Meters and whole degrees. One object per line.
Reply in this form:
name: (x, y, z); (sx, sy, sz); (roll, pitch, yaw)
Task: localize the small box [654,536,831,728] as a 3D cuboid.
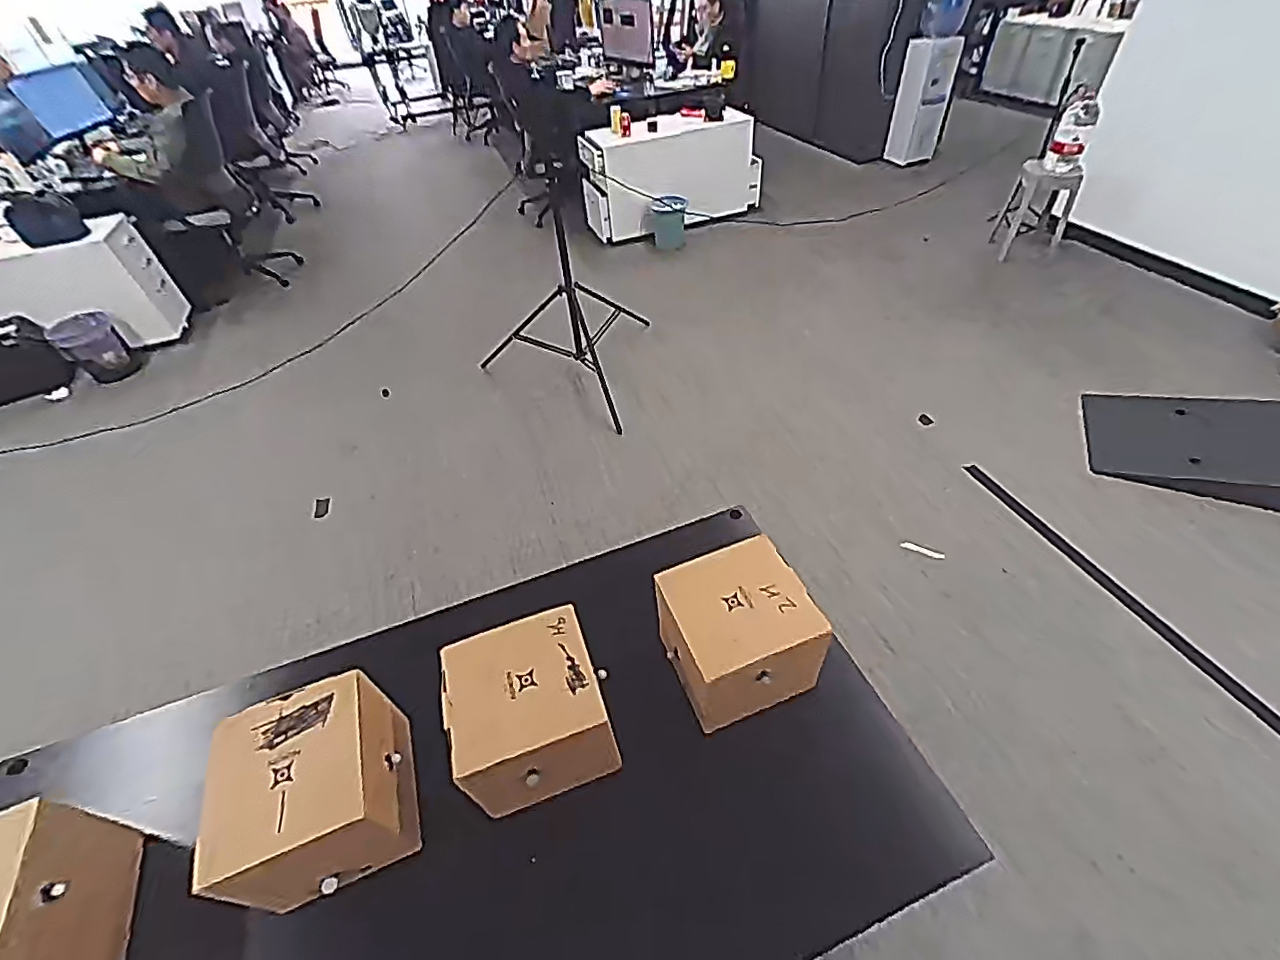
small box: (0.134, 0.212, 0.747); (0.179, 0.176, 0.168); (-18, 47, -11)

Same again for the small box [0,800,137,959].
small box: (-0.684, 0.480, 0.564); (0.168, 0.176, 0.179); (-20, 47, -16)

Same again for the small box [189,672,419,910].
small box: (-0.381, 0.369, 0.644); (0.168, 0.176, 0.179); (-19, 48, -13)

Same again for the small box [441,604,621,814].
small box: (-0.136, 0.295, 0.694); (0.179, 0.176, 0.168); (-17, 47, -10)
